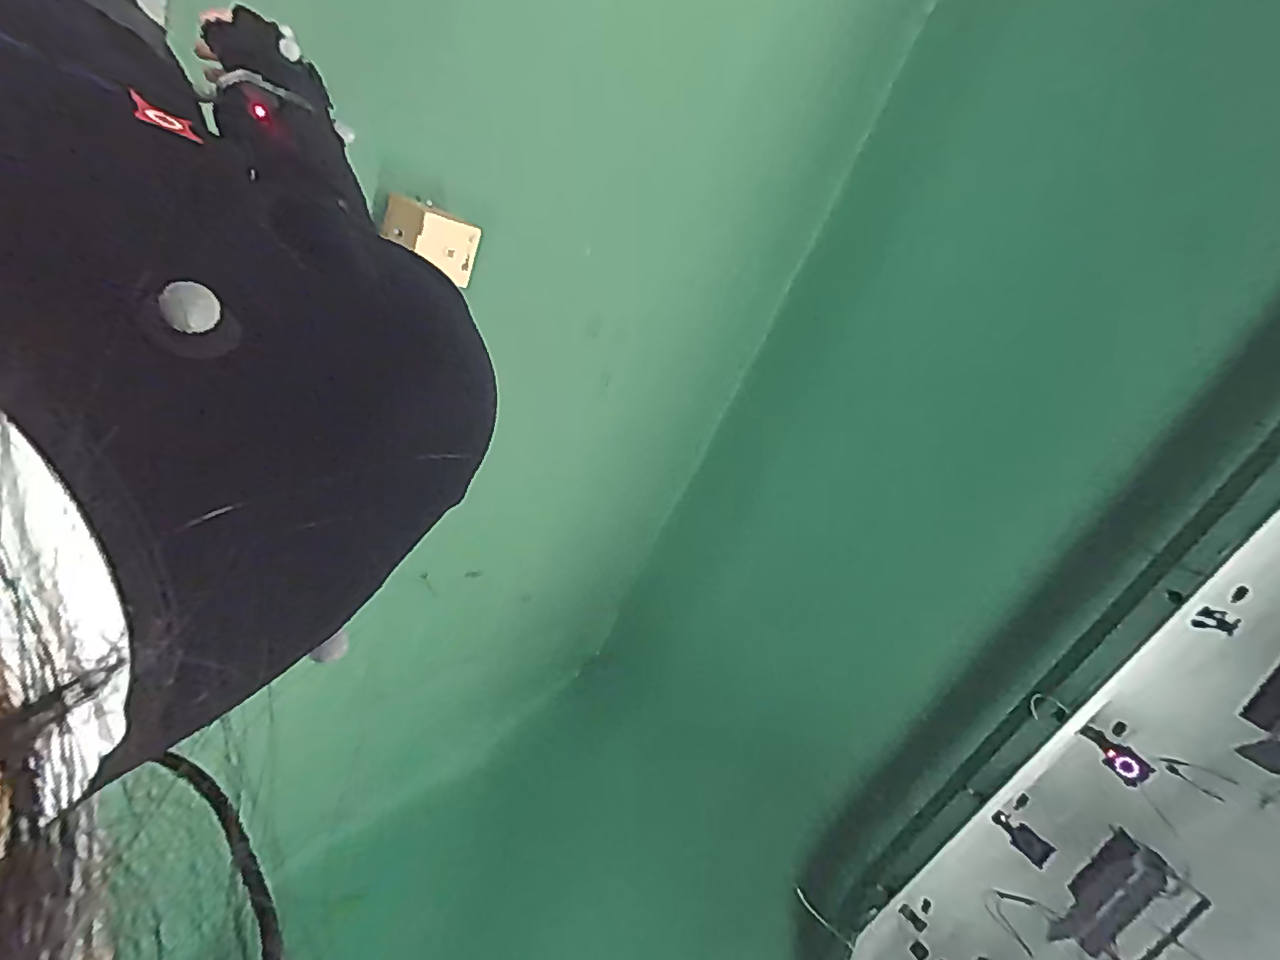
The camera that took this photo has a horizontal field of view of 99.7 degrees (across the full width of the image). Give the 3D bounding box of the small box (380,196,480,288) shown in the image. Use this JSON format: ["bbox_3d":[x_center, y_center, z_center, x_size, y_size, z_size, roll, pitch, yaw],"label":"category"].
[{"bbox_3d":[-0.575,-0.648,1.470,0.179,0.176,0.168,-9,130,-55],"label":"small box"}]
